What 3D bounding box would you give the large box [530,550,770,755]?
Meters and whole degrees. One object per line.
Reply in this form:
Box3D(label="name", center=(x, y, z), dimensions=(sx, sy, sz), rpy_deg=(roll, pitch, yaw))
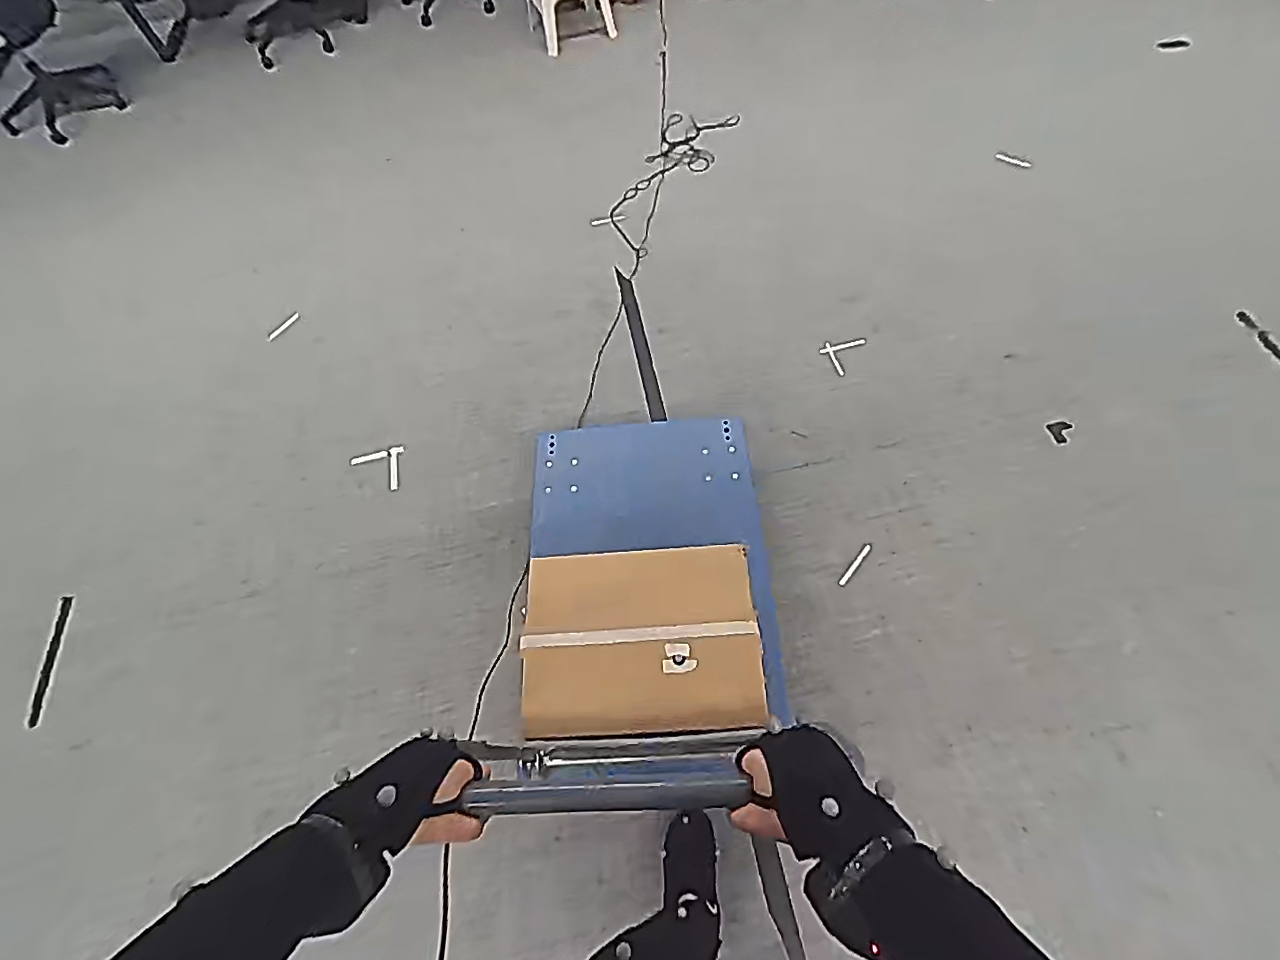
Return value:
Box3D(label="large box", center=(0.015, 0.357, 1.079), dimensions=(0.408, 0.320, 0.320), rpy_deg=(-5, 61, 2))
